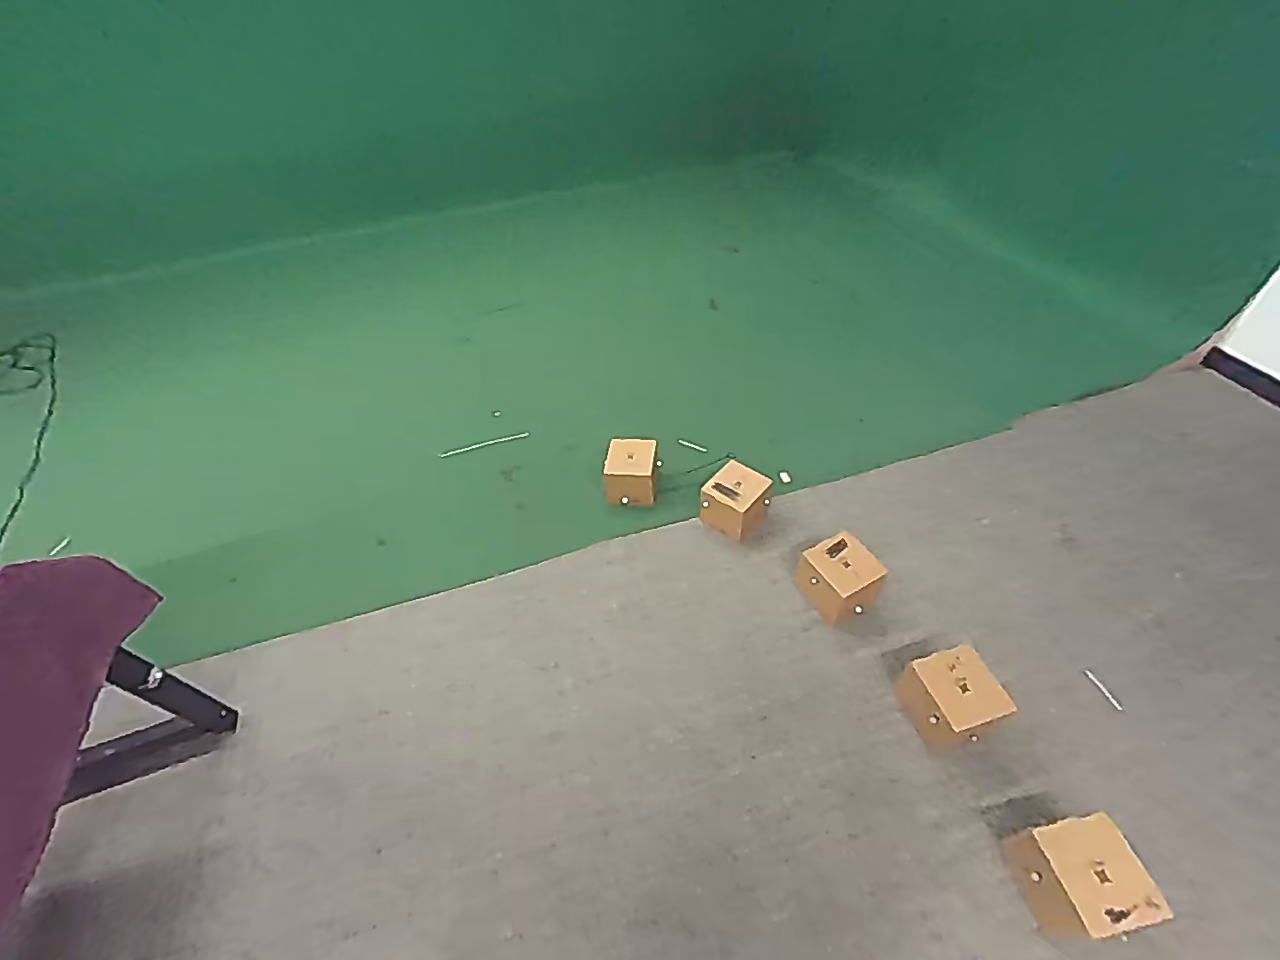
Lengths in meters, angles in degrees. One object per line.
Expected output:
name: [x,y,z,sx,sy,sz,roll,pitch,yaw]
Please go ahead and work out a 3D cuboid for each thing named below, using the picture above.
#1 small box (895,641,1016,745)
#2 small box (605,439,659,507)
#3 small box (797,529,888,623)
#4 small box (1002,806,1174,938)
small box: [0.768,0.533,1.338,0.168,0.176,0.179,-14,48,-8]
small box: [-0.022,-0.025,1.941,0.168,0.176,0.179,2,48,9]
small box: [0.585,0.283,1.587,0.168,0.176,0.179,-25,51,-15]
small box: [0.883,0.791,1.091,0.168,0.176,0.179,-11,47,-3]
